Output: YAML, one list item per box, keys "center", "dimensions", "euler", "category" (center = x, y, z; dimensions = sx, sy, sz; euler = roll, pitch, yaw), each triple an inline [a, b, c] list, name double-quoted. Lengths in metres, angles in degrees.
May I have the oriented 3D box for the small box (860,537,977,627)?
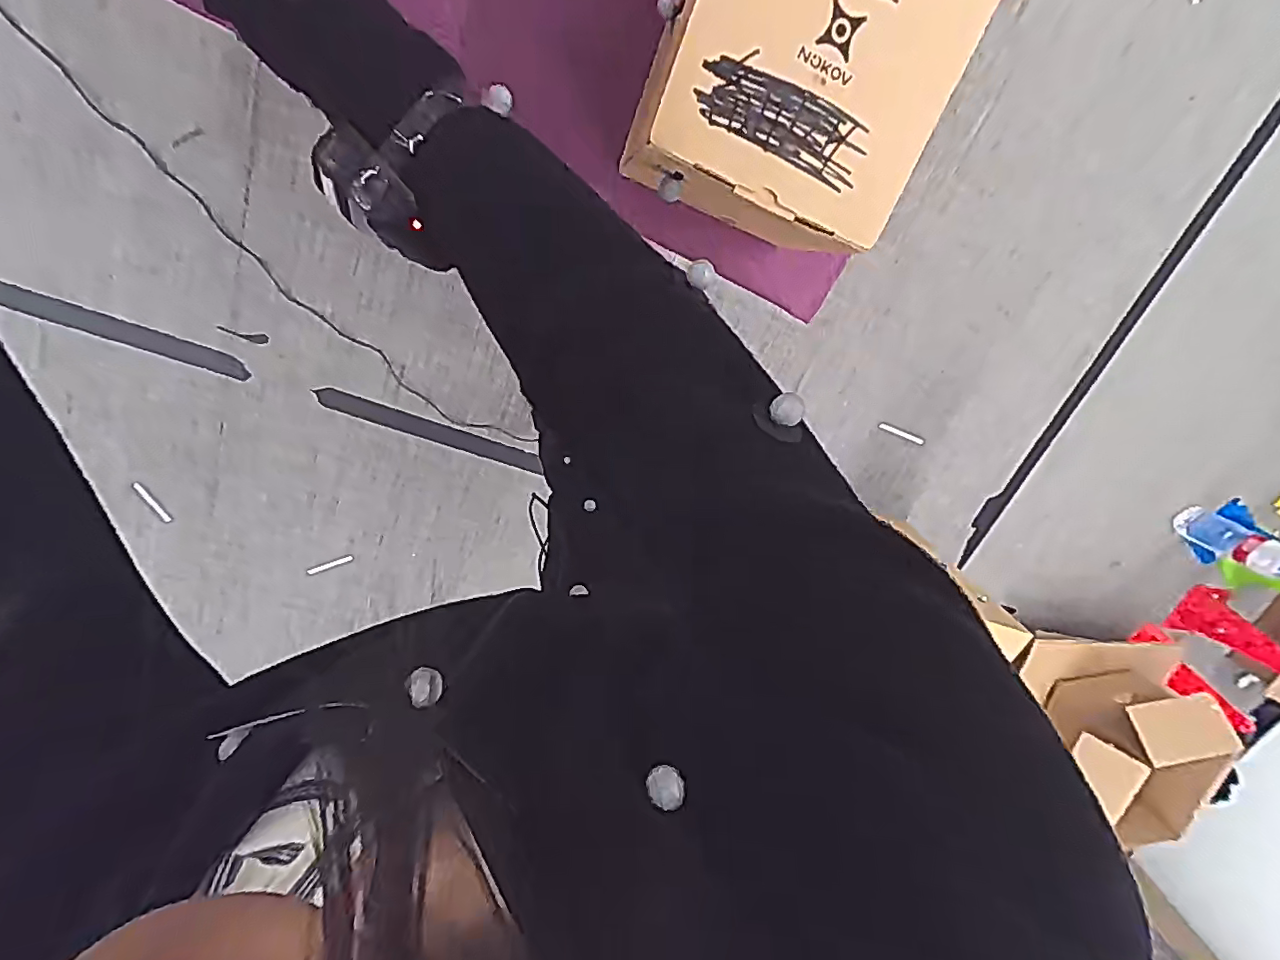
- center: [0.708, 0.272, 1.398]
  dimensions: [0.168, 0.176, 0.179]
  euler: [18, 113, -17]
  category: "small box"

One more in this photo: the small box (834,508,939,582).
- center: [0.693, 0.200, 1.543]
  dimensions: [0.179, 0.176, 0.168]
  euler: [16, 113, -18]
  category: "small box"

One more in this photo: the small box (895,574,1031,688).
- center: [0.733, 0.344, 1.252]
  dimensions: [0.168, 0.176, 0.179]
  euler: [18, 113, -17]
  category: "small box"
